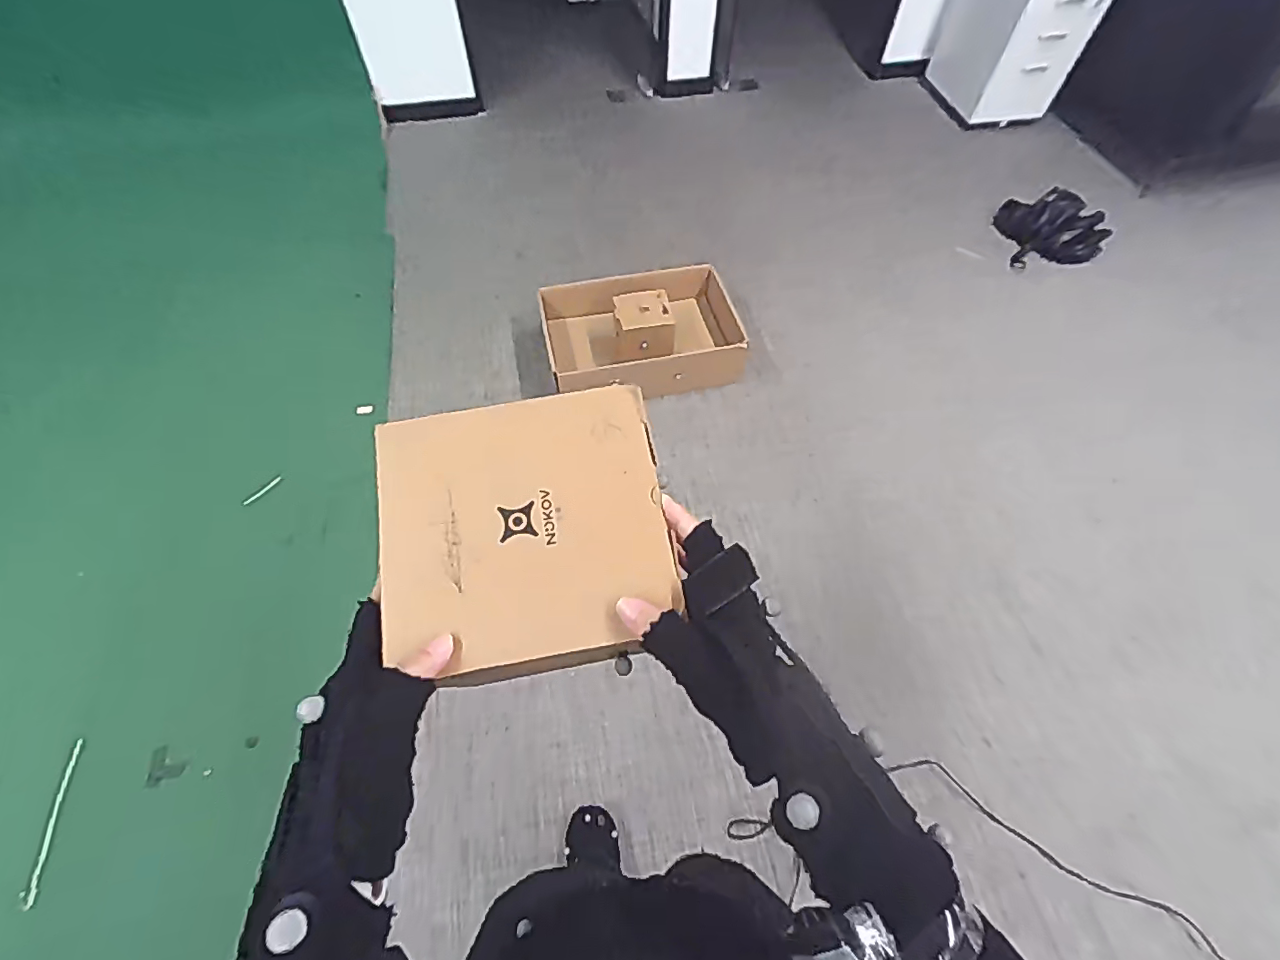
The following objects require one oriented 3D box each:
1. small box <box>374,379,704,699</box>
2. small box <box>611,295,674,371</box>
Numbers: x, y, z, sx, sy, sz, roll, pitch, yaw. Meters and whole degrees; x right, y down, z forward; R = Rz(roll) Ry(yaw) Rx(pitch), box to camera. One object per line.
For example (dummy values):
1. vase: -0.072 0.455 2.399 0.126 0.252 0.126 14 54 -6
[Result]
1. small box: -0.068 0.052 0.400 0.179 0.176 0.168 -14 70 -6
2. small box: 0.008 -0.483 1.792 0.179 0.176 0.168 -12 58 -9
